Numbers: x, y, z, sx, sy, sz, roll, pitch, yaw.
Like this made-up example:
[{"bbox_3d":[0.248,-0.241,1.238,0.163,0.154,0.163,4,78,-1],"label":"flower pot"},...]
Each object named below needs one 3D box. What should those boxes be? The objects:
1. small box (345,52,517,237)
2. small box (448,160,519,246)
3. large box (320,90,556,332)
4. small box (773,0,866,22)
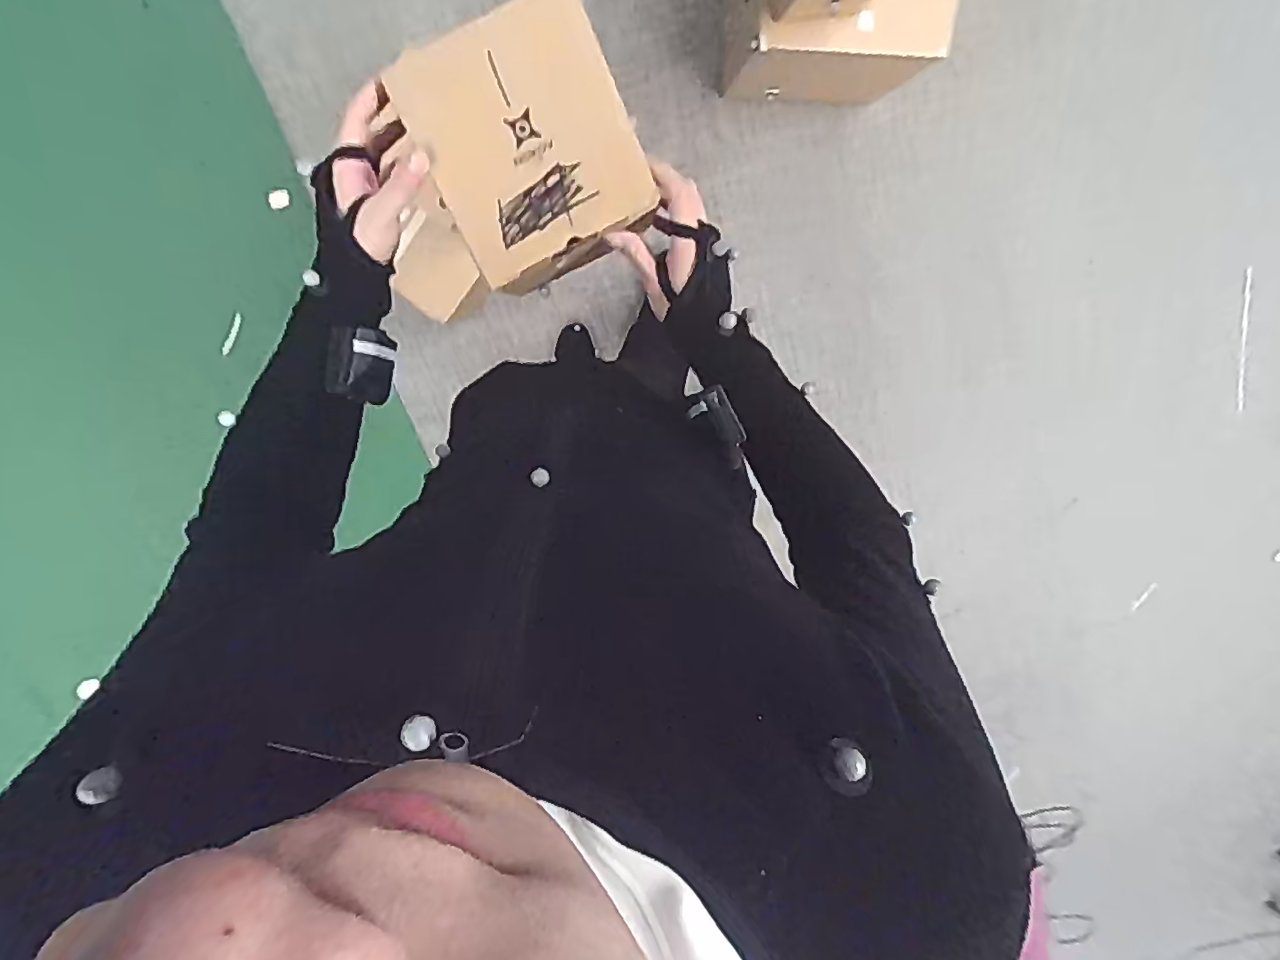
[{"bbox_3d":[-0.319,-0.513,0.864,0.179,0.176,0.168,38,102,-17],"label":"small box"},{"bbox_3d":[-0.343,-0.569,1.015,0.168,0.176,0.179,36,102,-16],"label":"small box"},{"bbox_3d":[-0.436,-0.611,1.253,0.320,0.320,0.408,37,102,-15],"label":"large box"},{"bbox_3d":[0.338,-0.951,0.957,0.168,0.176,0.179,-9,111,-3],"label":"small box"}]
